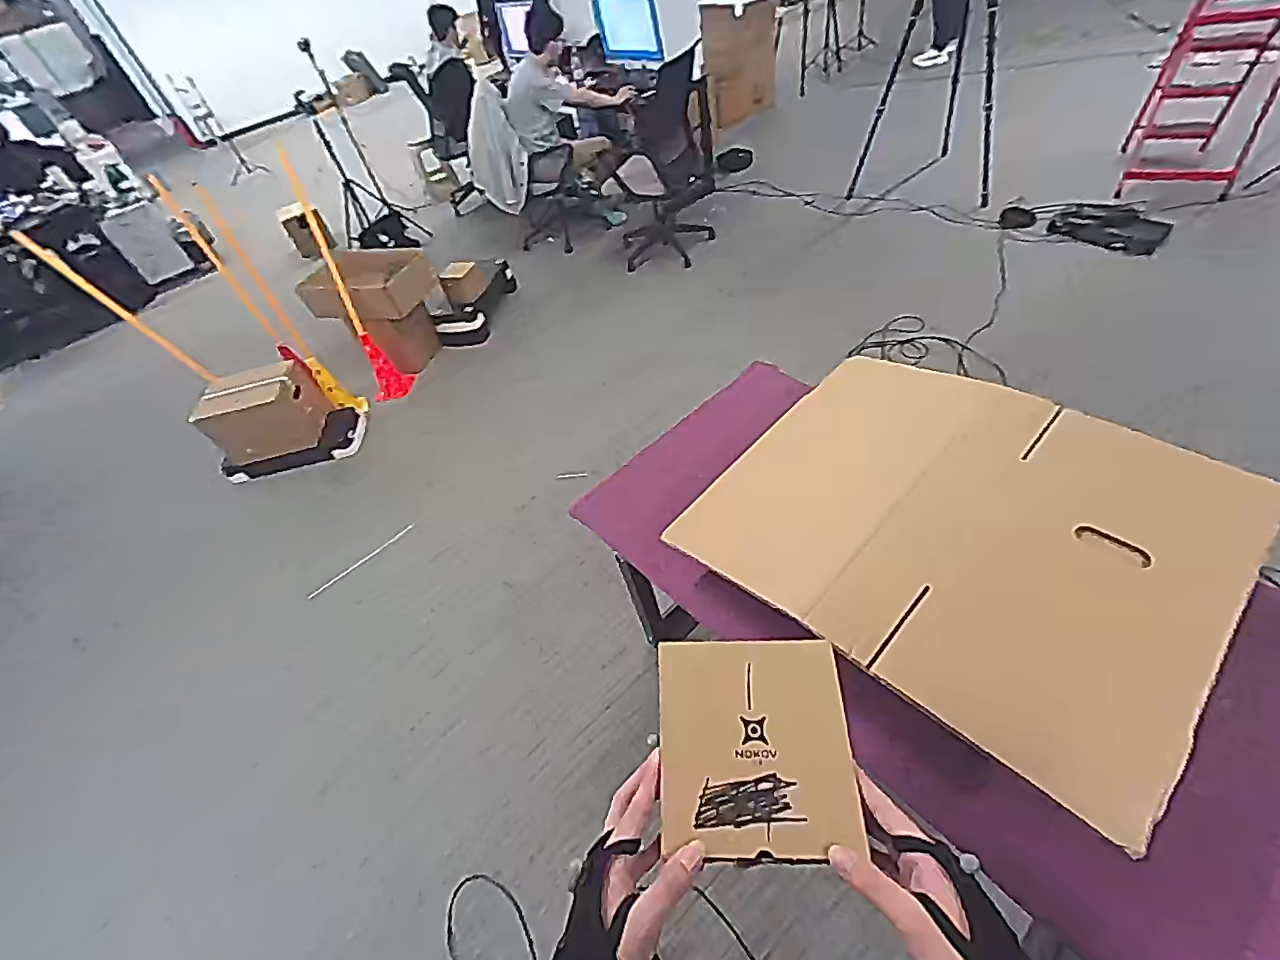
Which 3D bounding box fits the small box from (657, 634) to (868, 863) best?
[{"bbox_3d":[0.104,0.261,0.531,0.168,0.176,0.179,-1,57,4],"label":"small box"}]
